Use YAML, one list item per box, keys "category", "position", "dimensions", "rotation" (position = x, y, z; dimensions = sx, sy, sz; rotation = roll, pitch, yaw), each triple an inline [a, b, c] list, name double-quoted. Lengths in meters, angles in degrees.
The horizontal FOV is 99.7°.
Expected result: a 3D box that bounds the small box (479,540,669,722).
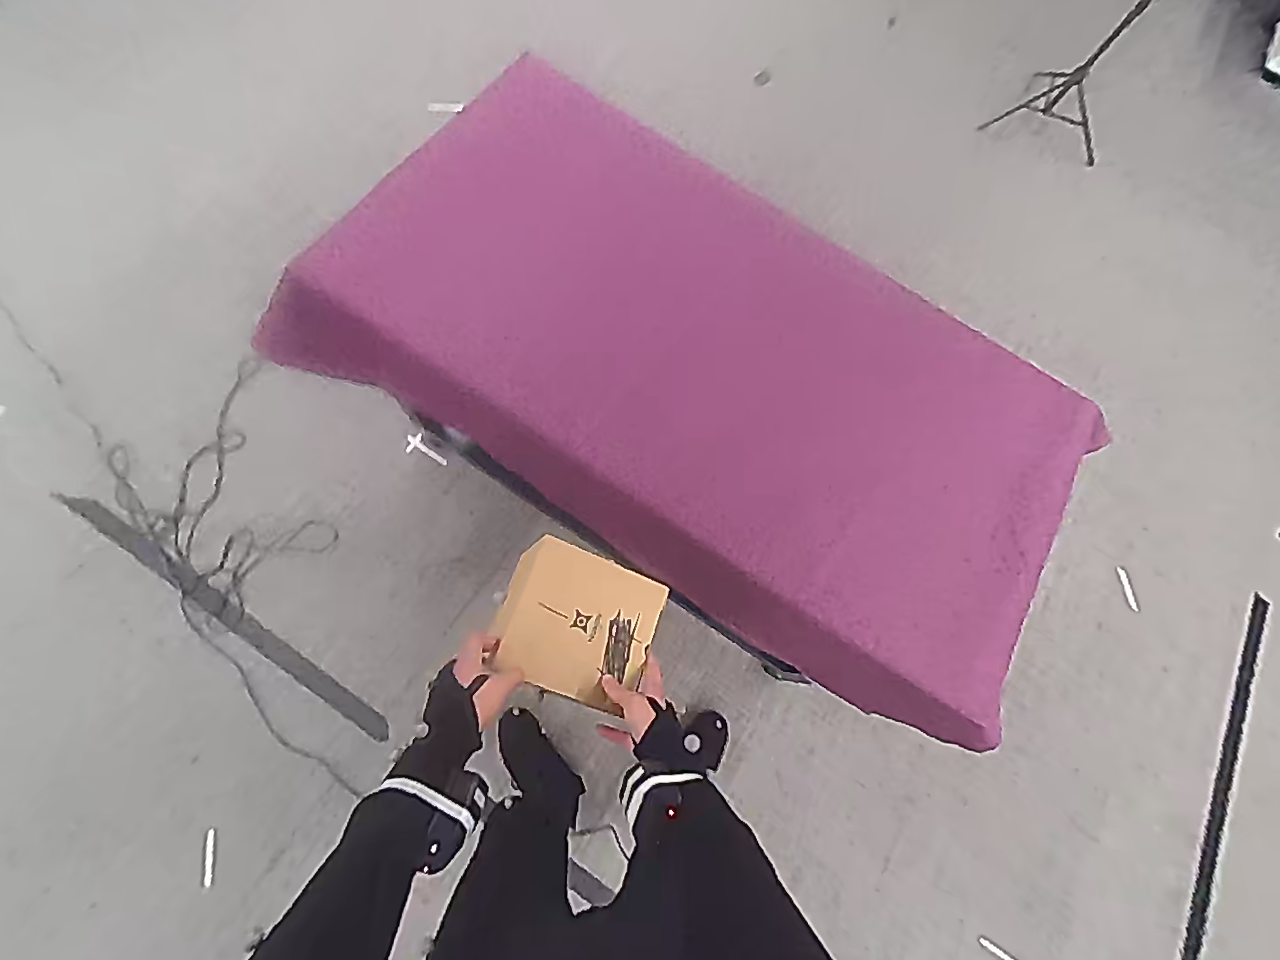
- category: "small box"
  position: [-0.092, 0.197, 0.710]
  dimensions: [0.179, 0.176, 0.168]
  rotation: [26, 66, -13]
